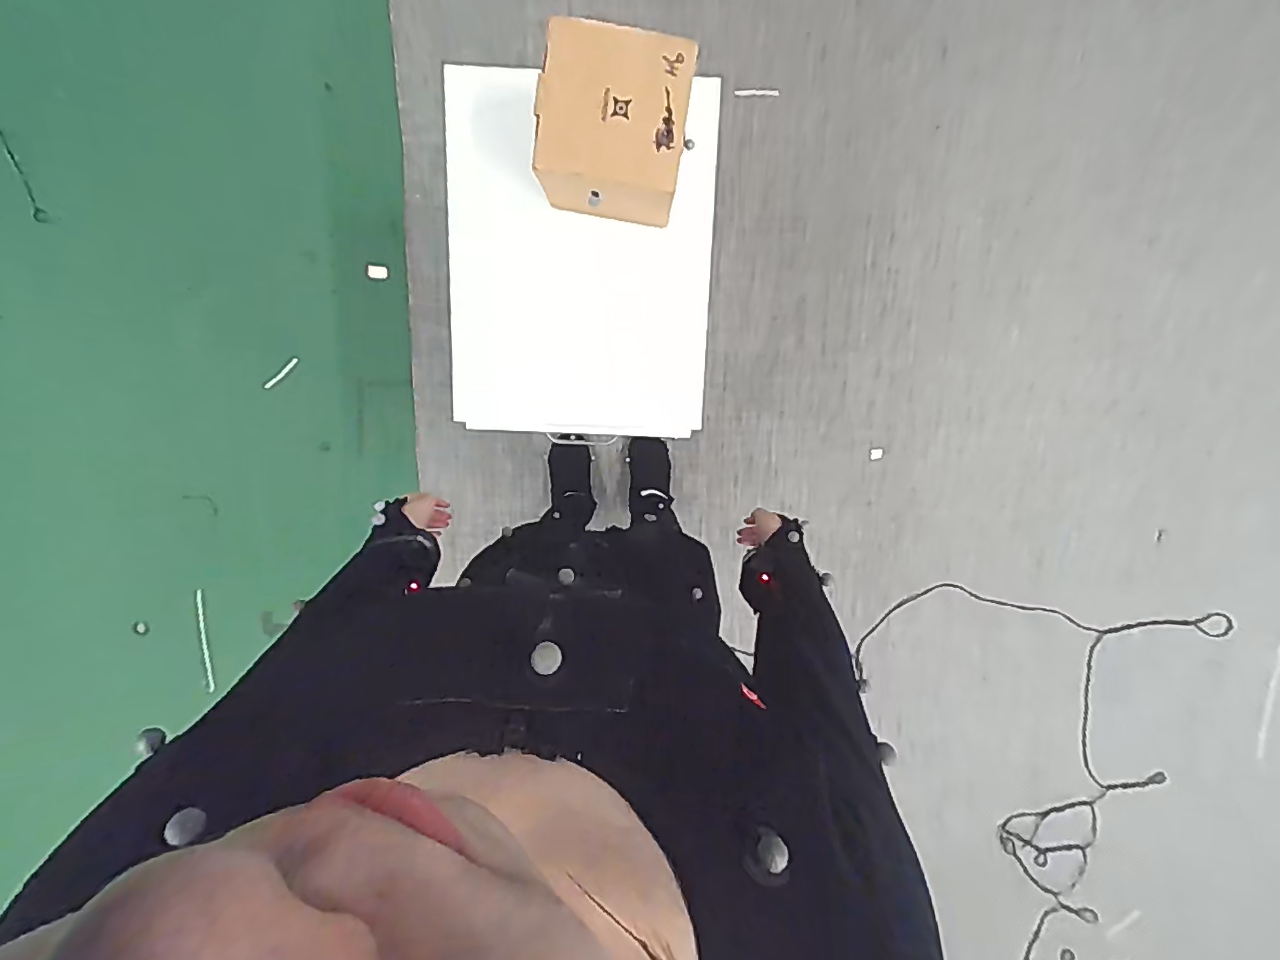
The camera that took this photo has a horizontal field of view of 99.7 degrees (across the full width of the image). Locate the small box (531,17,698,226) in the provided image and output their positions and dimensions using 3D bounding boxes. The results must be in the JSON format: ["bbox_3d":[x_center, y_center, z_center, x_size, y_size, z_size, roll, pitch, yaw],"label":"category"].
[{"bbox_3d":[-0.032,-0.451,0.711,0.179,0.176,0.168,9,101,-2],"label":"small box"}]
